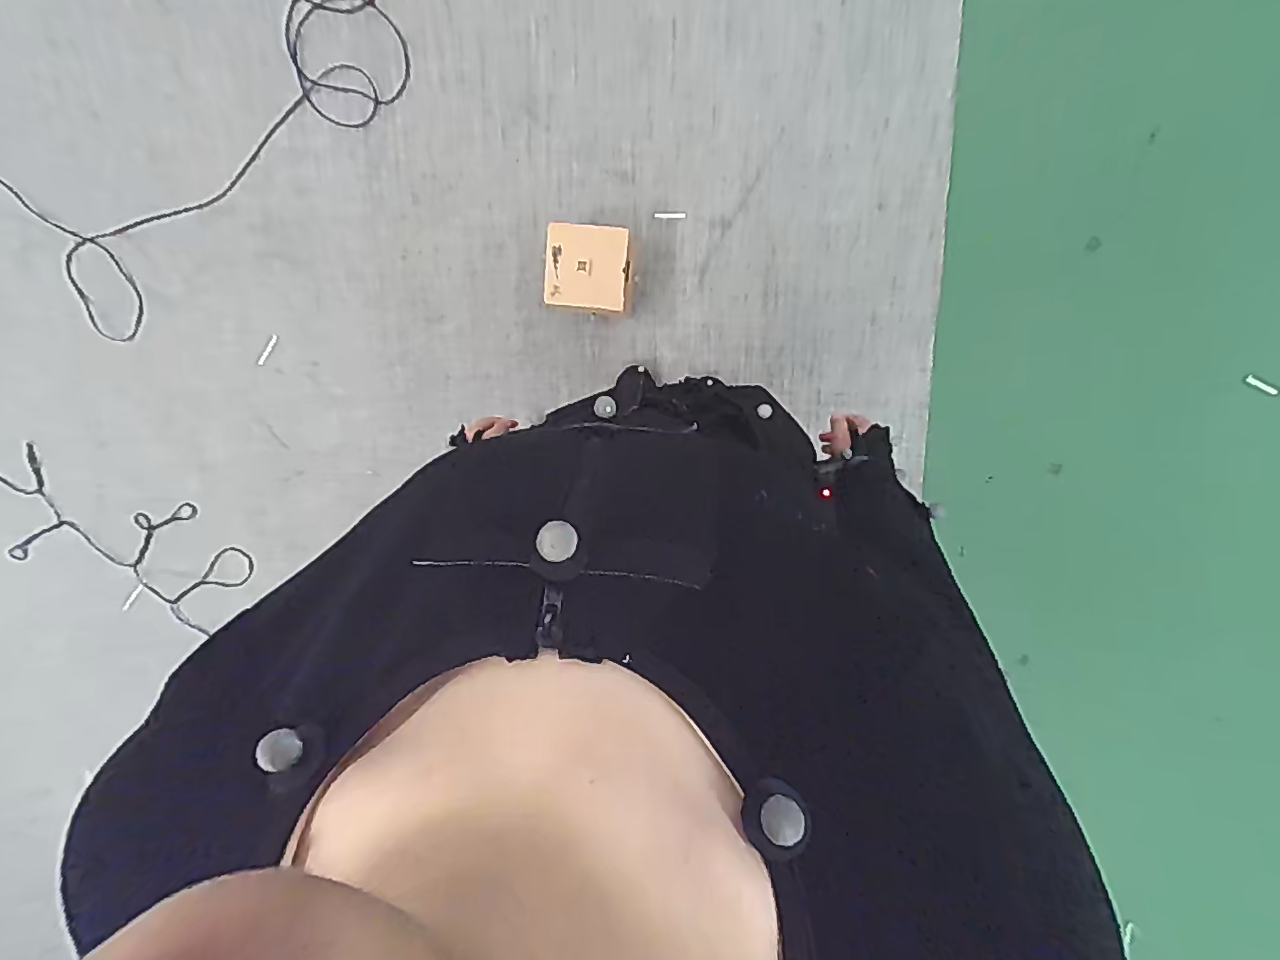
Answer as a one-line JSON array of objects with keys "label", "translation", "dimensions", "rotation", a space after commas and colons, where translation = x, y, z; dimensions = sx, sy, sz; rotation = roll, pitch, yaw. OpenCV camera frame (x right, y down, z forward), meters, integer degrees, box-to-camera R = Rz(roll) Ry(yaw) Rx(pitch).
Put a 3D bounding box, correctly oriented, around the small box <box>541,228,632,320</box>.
[{"label": "small box", "translation": [-0.114, -0.457, 1.219], "dimensions": [0.179, 0.176, 0.168], "rotation": [6, 103, 4]}]
